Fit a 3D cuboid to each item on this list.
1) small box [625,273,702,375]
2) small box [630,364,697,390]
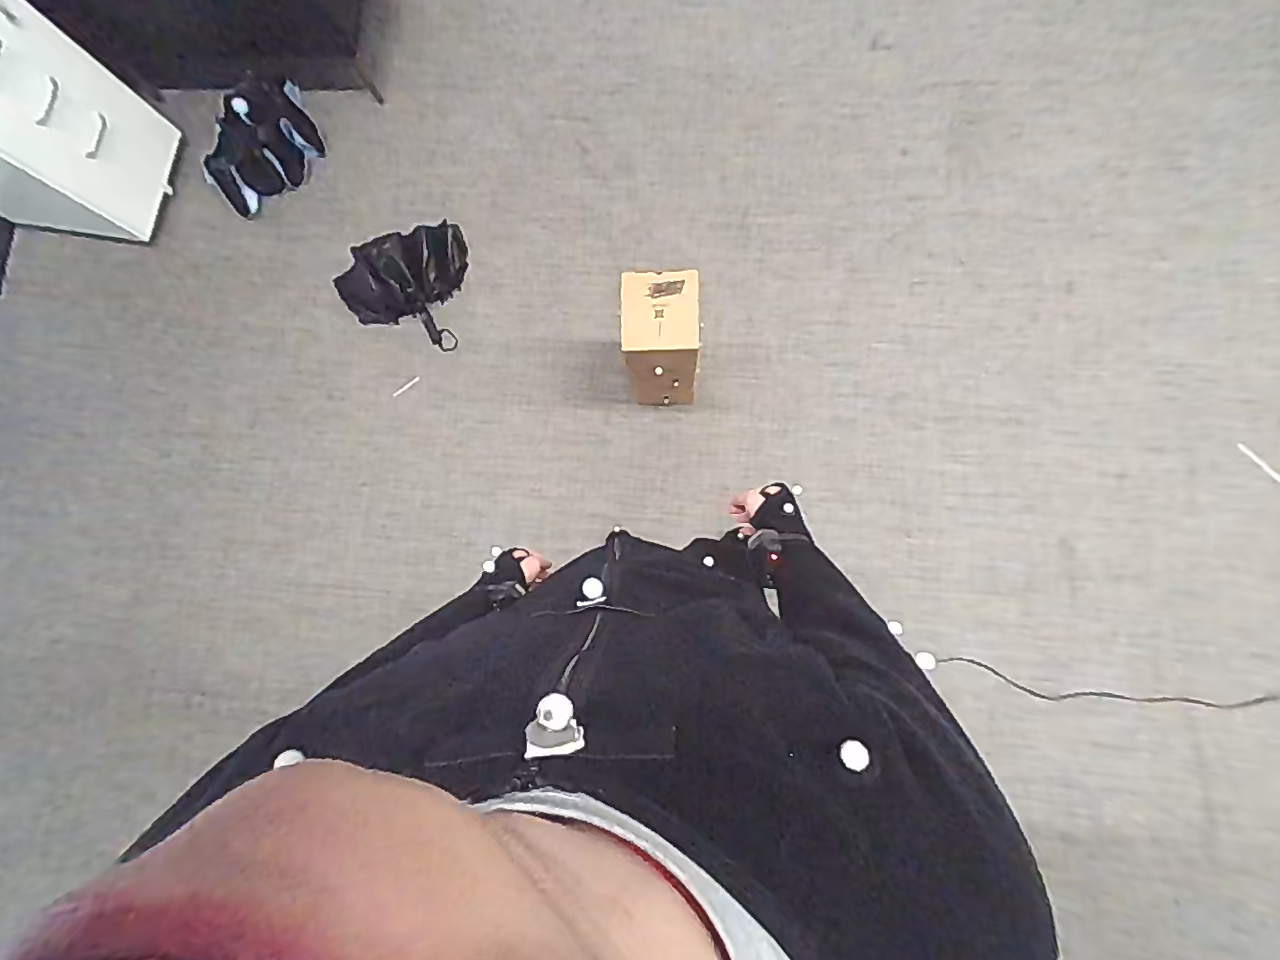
[{"bbox_3d":[0.053,-0.350,1.232,0.168,0.176,0.179,-1,85,4],"label":"small box"},{"bbox_3d":[0.067,-0.338,1.396,0.168,0.176,0.179,2,82,4],"label":"small box"}]
